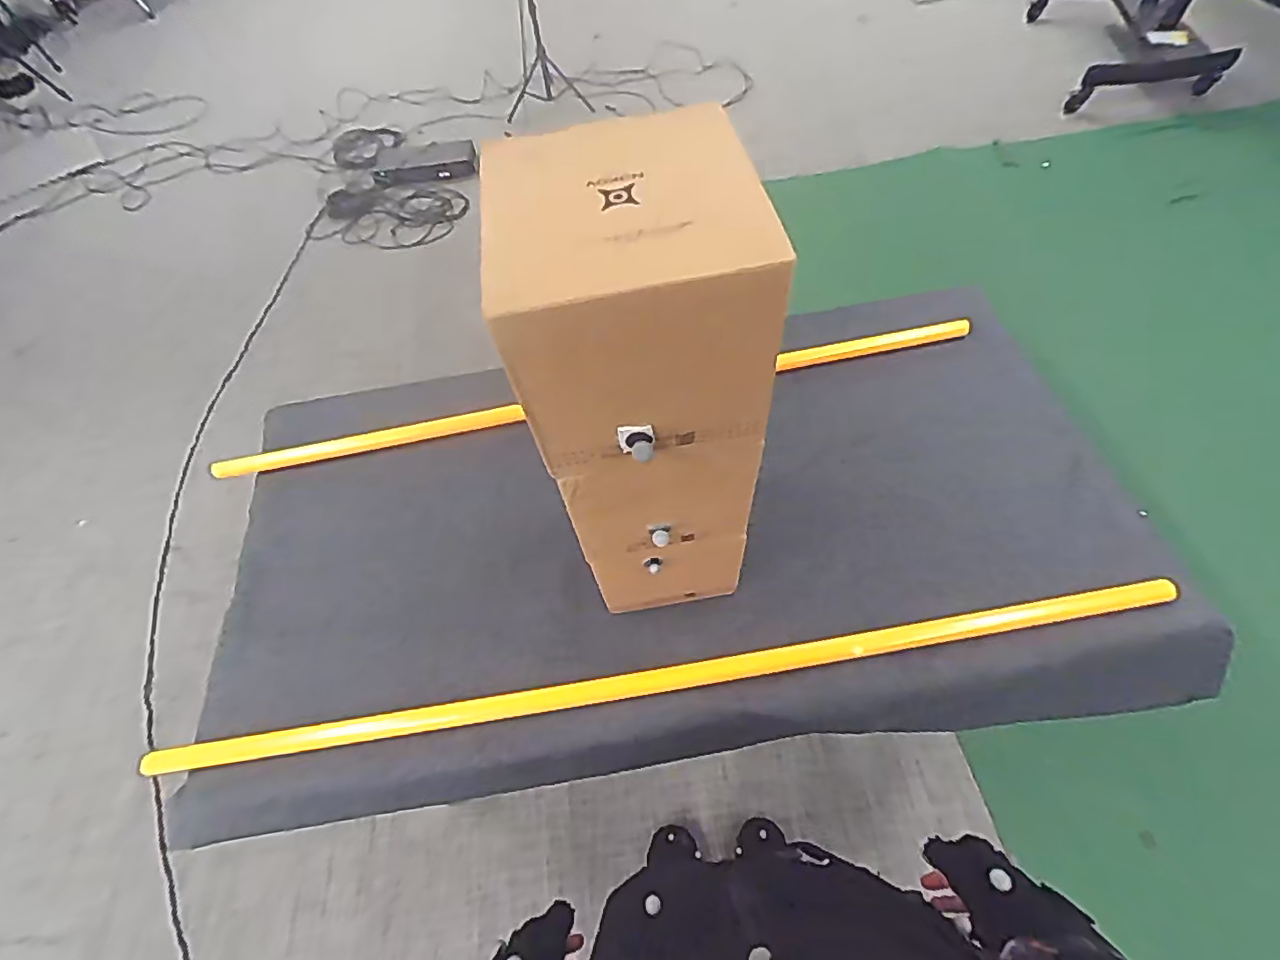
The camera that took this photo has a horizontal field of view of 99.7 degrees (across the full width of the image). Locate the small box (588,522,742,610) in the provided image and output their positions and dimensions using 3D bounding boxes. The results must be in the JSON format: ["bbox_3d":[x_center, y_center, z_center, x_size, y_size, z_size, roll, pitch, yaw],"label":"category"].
[{"bbox_3d":[0.021,0.041,0.675,0.168,0.176,0.179,-10,58,0],"label":"small box"}]

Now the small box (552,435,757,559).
[{"bbox_3d":[0.005,-0.044,0.535,0.168,0.176,0.179,-10,58,-1],"label":"small box"}]

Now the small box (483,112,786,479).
[{"bbox_3d":[-0.008,-0.126,0.397,0.168,0.176,0.179,-11,59,0],"label":"small box"}]
